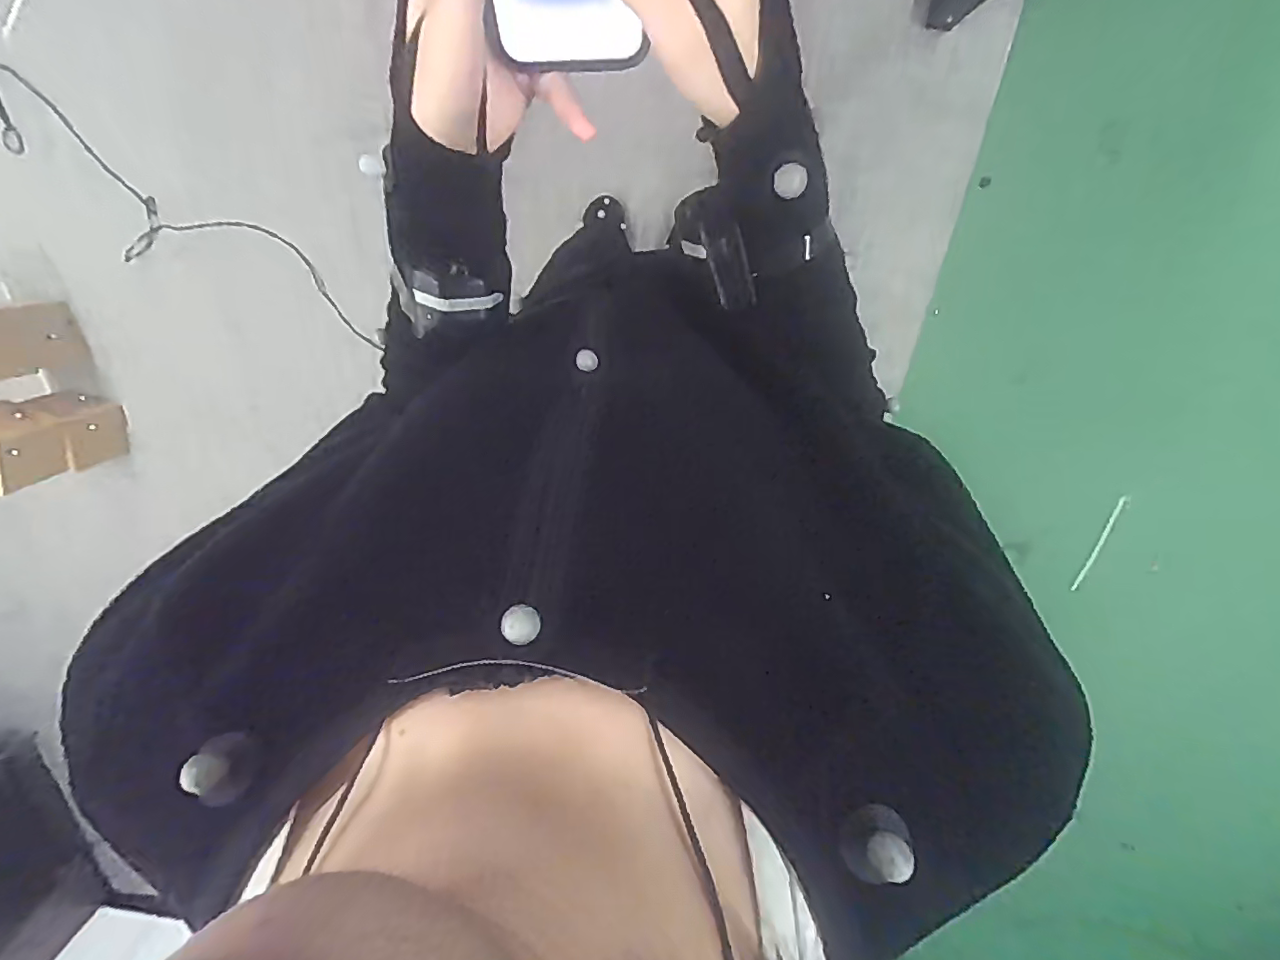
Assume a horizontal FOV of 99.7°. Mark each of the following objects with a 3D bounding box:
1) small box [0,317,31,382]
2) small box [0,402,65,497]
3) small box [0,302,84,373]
[{"bbox_3d":[-1.725,-0.323,1.360,0.168,0.176,0.179,-3,115,7],"label":"small box"},{"bbox_3d":[-1.734,-0.088,1.473,0.168,0.176,0.179,23,114,-4],"label":"small box"},{"bbox_3d":[-1.721,-0.400,1.504,0.179,0.176,0.168,1,115,6],"label":"small box"}]
